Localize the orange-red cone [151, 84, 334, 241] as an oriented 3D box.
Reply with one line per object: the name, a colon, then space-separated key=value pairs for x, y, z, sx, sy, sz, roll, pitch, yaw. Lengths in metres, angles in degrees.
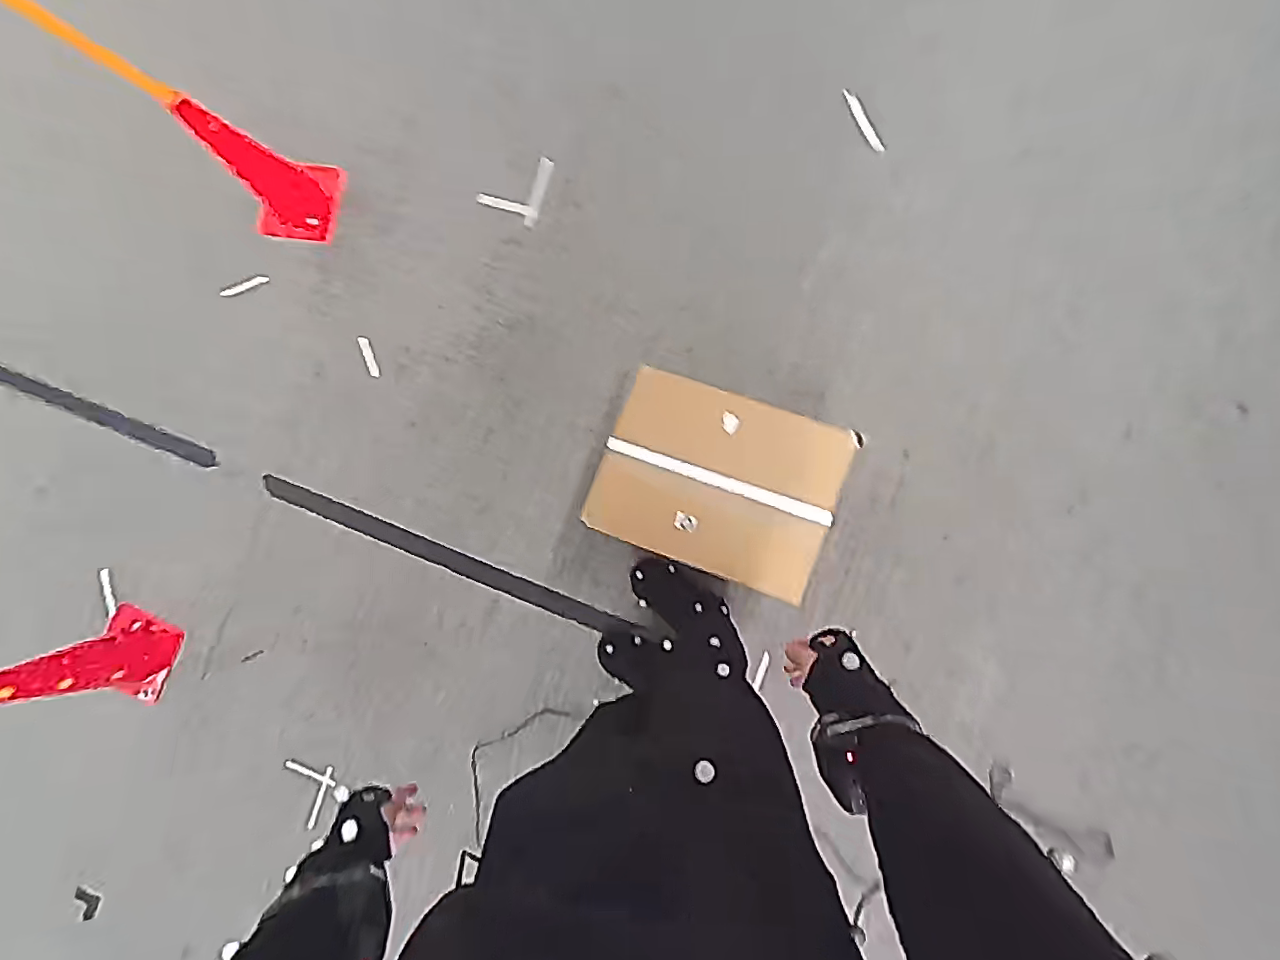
orange-red cone: x=-0.894 y=-0.721 z=1.195 sx=0.198 sy=0.360 sz=0.199 roll=11 pitch=87 yaw=5
